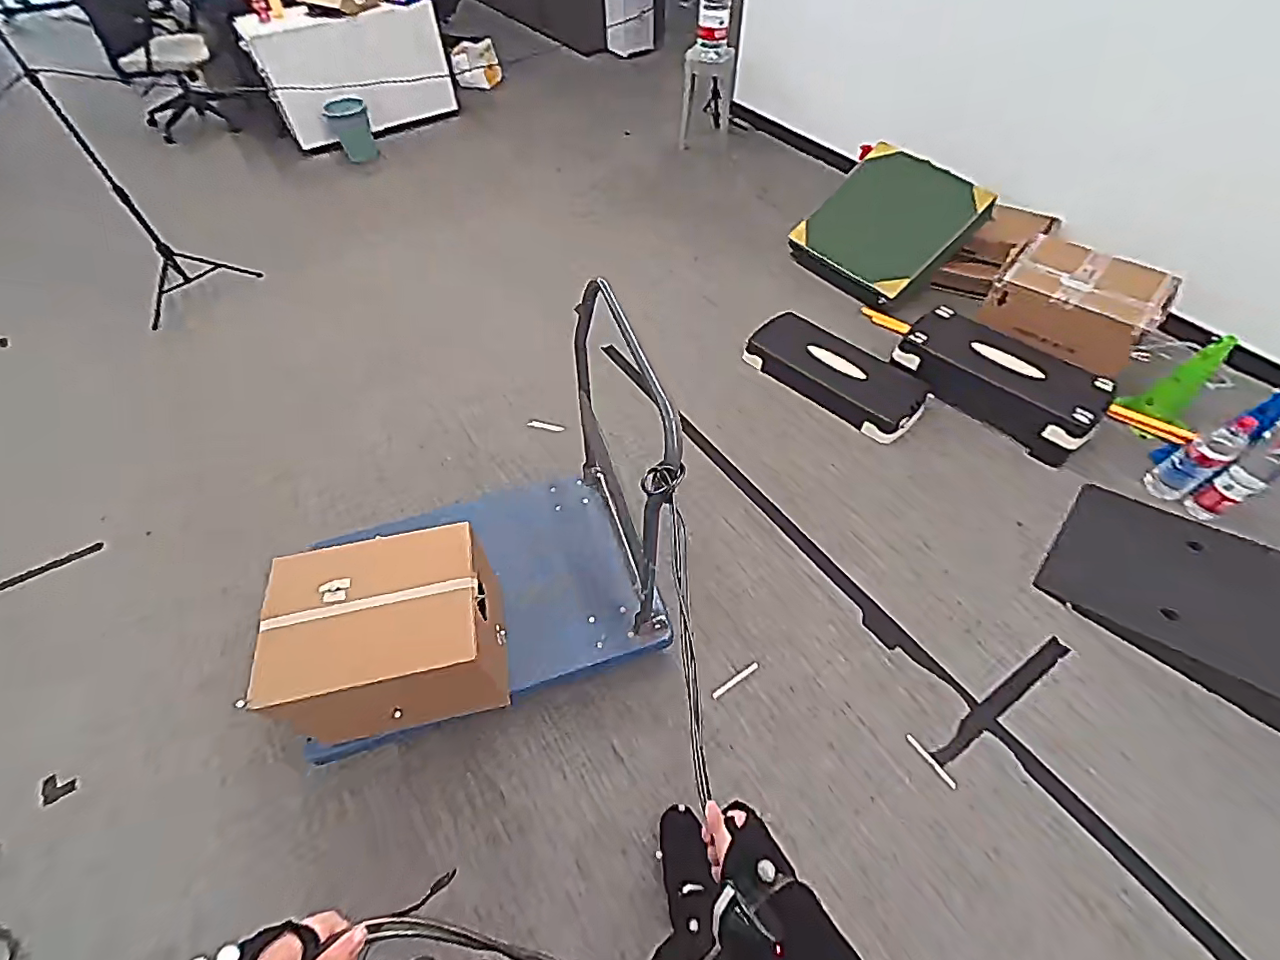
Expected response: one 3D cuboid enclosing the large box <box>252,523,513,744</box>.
[{"bbox_3d":[-0.517,0.338,1.173,0.408,0.320,0.320,-11,53,-7],"label":"large box"}]
